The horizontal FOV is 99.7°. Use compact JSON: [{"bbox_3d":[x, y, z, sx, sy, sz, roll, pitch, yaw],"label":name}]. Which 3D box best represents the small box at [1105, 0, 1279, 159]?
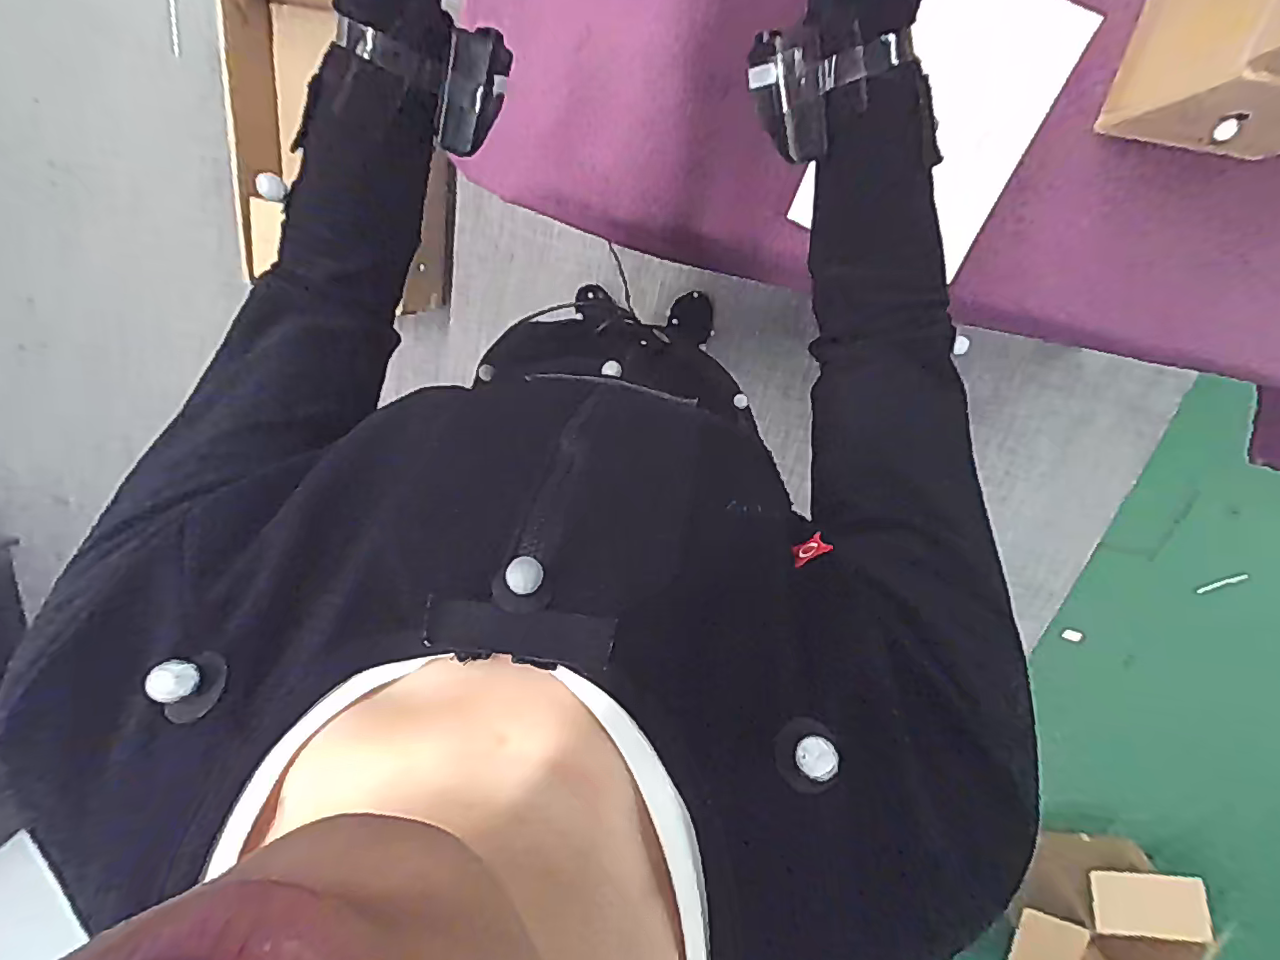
[{"bbox_3d":[0.546,-0.388,0.446,0.168,0.176,0.179,12,111,2],"label":"small box"}]
